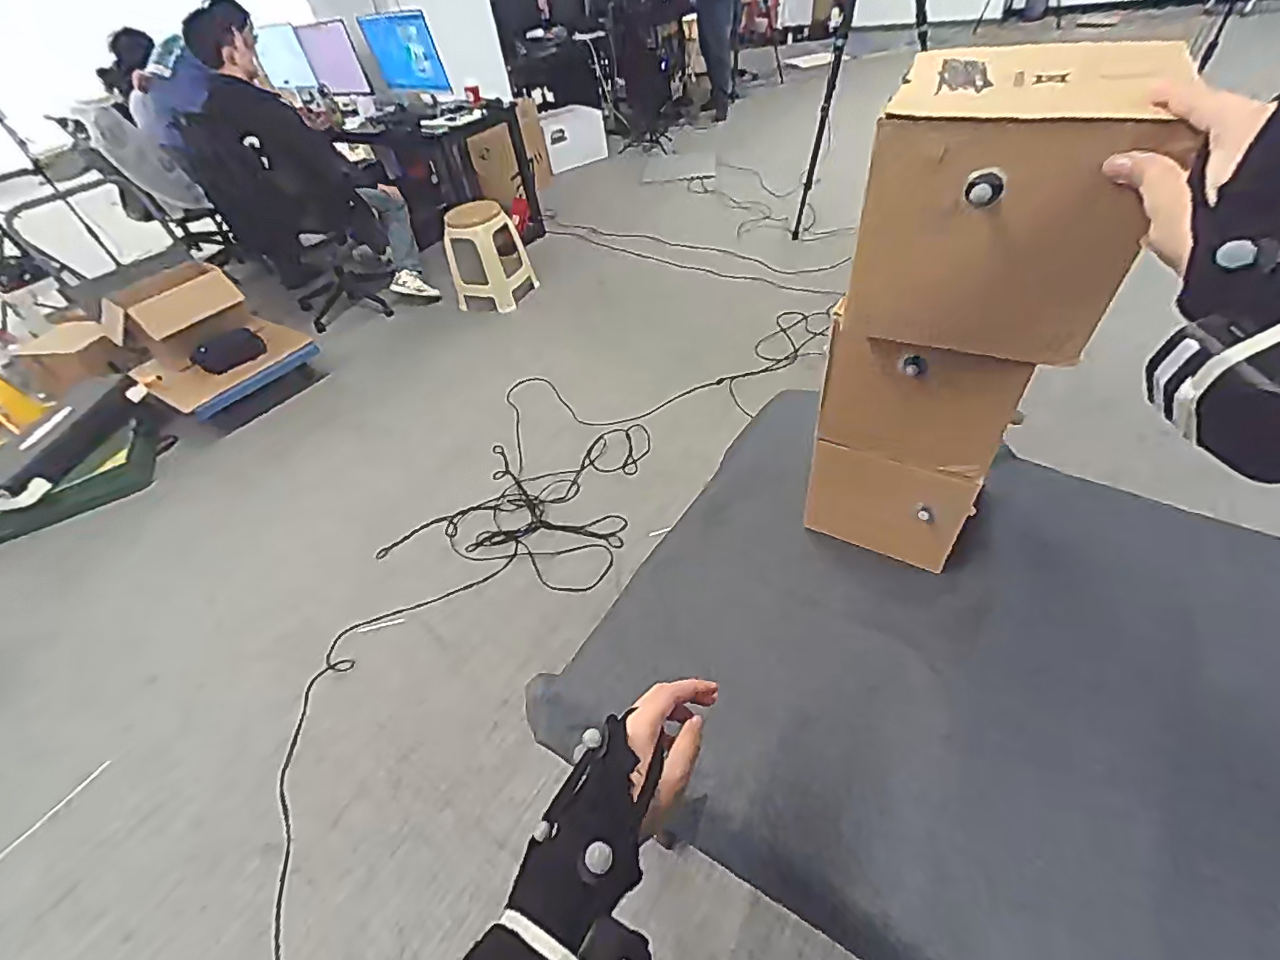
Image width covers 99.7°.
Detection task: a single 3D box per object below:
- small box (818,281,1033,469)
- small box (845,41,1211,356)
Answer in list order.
[{"bbox_3d":[0.304,-0.136,0.574,0.179,0.176,0.168,20,55,24],"label":"small box"},{"bbox_3d":[0.277,-0.219,0.427,0.179,0.176,0.168,18,53,22],"label":"small box"}]
